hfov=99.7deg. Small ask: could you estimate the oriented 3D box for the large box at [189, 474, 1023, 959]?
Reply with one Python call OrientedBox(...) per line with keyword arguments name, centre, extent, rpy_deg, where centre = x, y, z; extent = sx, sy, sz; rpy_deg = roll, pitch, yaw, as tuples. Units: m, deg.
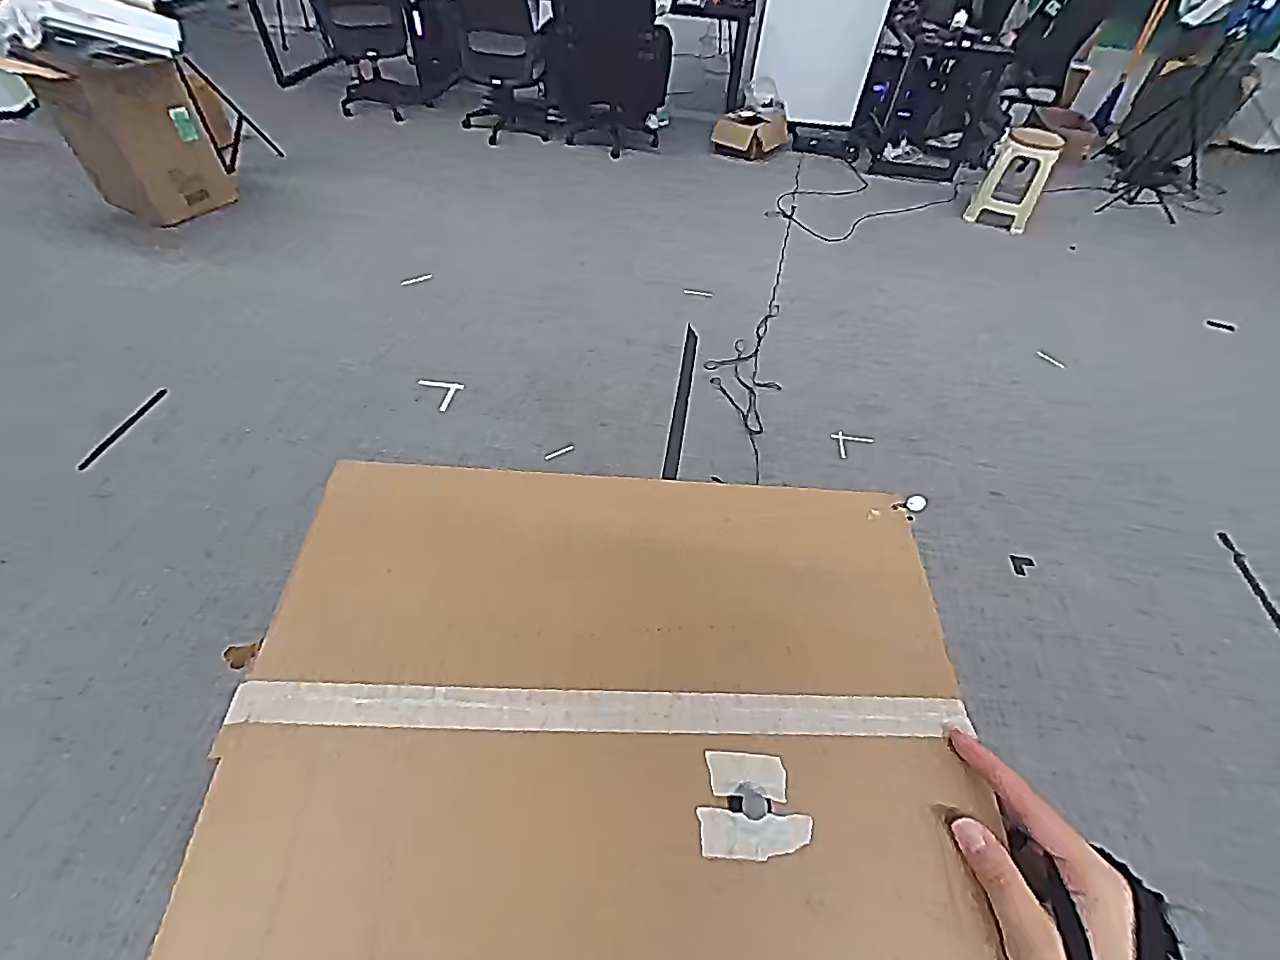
OrientedBox(name="large box", centre=(-0.021, 0.214, 0.441), extent=(0.408, 0.320, 0.320), rpy_deg=(4, 58, -5))
